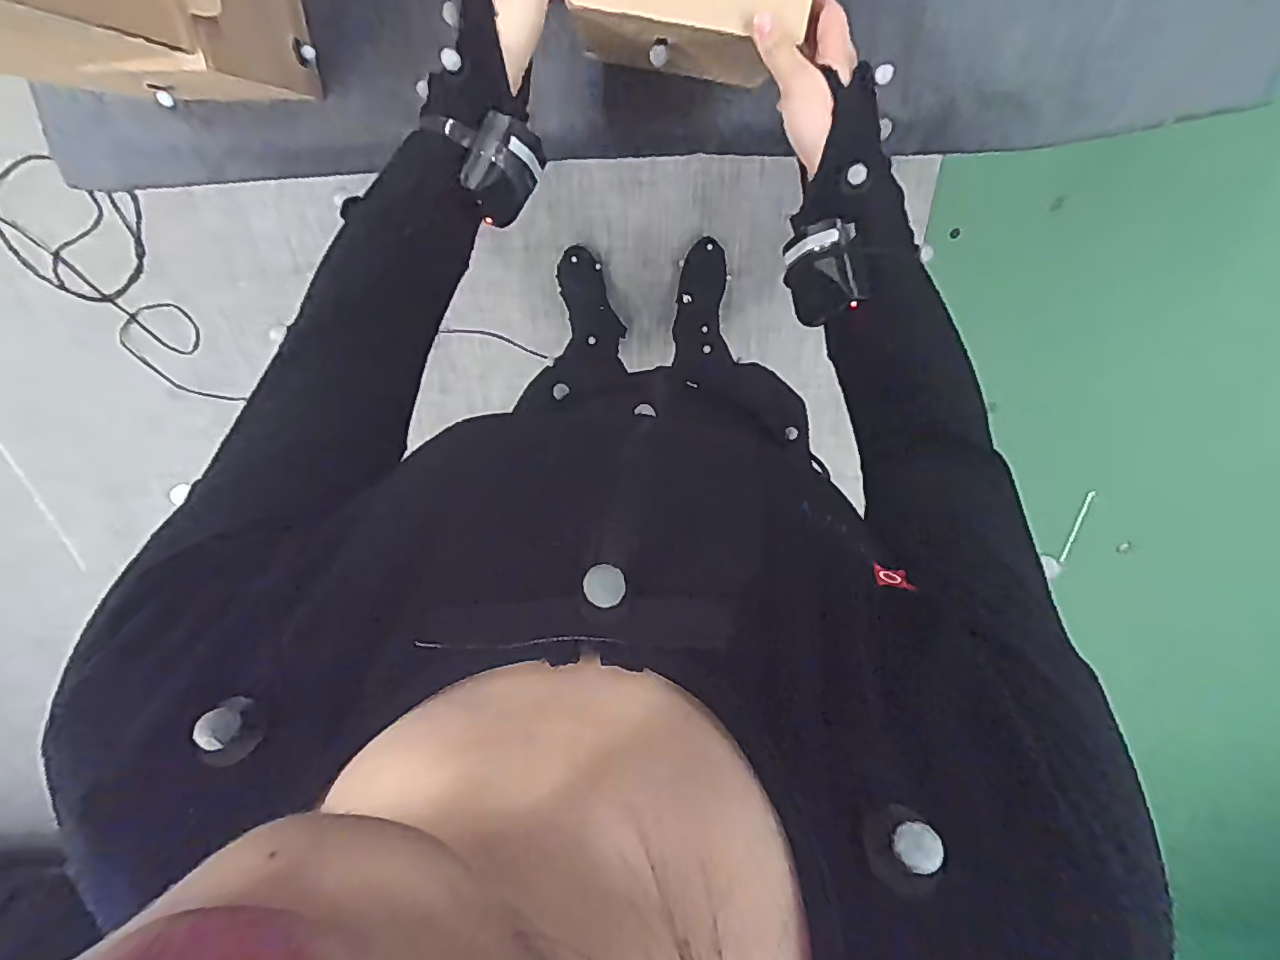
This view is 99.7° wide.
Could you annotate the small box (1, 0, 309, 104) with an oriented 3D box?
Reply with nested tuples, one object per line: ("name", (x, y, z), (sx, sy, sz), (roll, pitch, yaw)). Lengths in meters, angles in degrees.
("small box", (-0.403, -0.414, 0.435), (0.179, 0.176, 0.168), (1, 119, 1))

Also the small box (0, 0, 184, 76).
("small box", (-0.419, -0.337, 0.292), (0.179, 0.176, 0.168), (-4, 119, 2))

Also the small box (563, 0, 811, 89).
("small box", (0.044, -0.429, 0.424), (0.179, 0.176, 0.168), (8, 118, -3))
